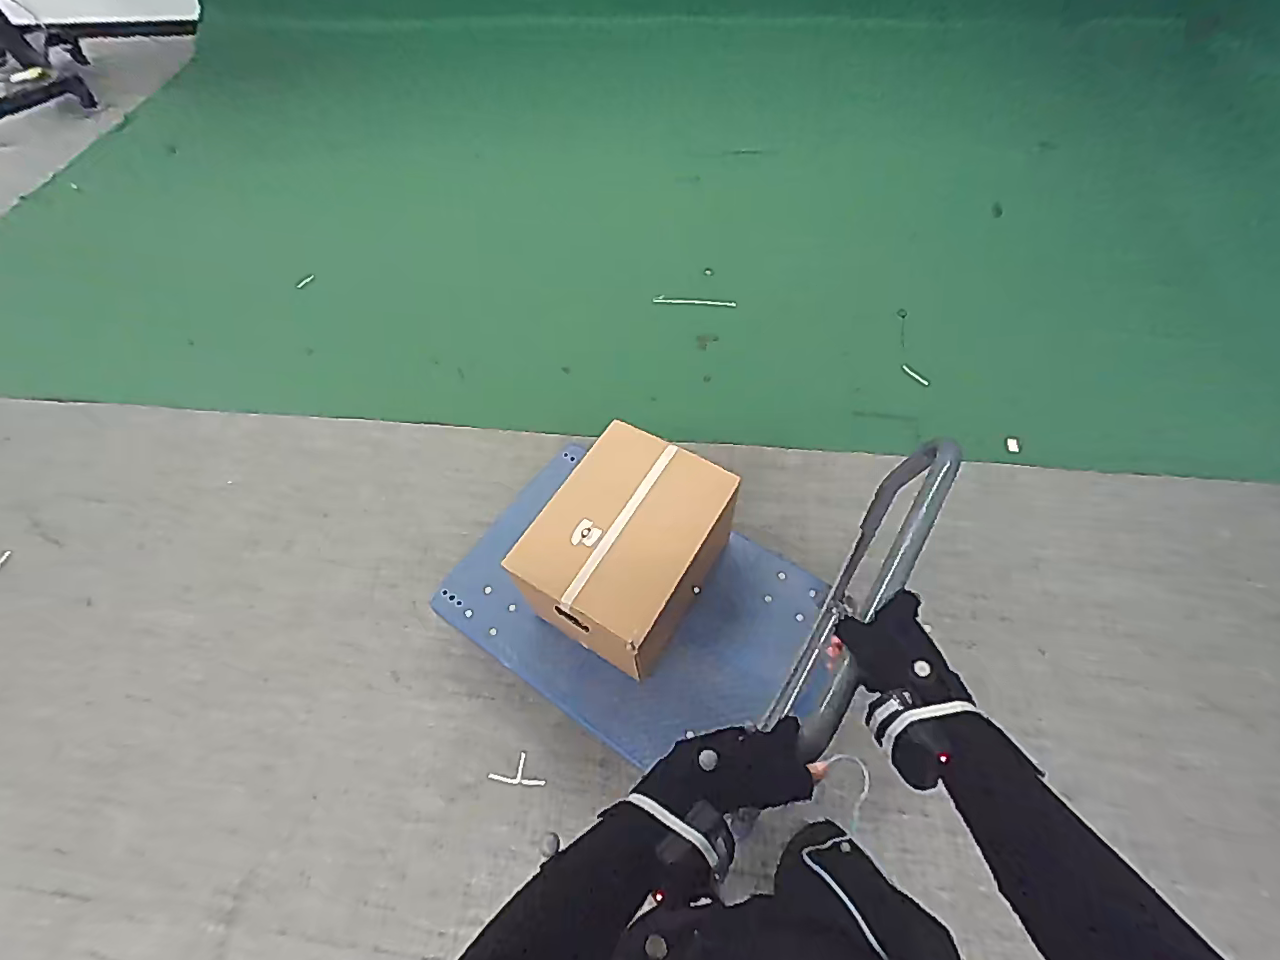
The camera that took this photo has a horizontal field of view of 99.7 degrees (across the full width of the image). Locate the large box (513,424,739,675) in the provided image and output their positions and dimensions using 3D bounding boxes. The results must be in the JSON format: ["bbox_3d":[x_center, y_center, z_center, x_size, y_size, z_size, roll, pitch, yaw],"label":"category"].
[{"bbox_3d":[-0.012,0.159,1.212,0.320,0.320,0.408,26,66,18],"label":"large box"}]
